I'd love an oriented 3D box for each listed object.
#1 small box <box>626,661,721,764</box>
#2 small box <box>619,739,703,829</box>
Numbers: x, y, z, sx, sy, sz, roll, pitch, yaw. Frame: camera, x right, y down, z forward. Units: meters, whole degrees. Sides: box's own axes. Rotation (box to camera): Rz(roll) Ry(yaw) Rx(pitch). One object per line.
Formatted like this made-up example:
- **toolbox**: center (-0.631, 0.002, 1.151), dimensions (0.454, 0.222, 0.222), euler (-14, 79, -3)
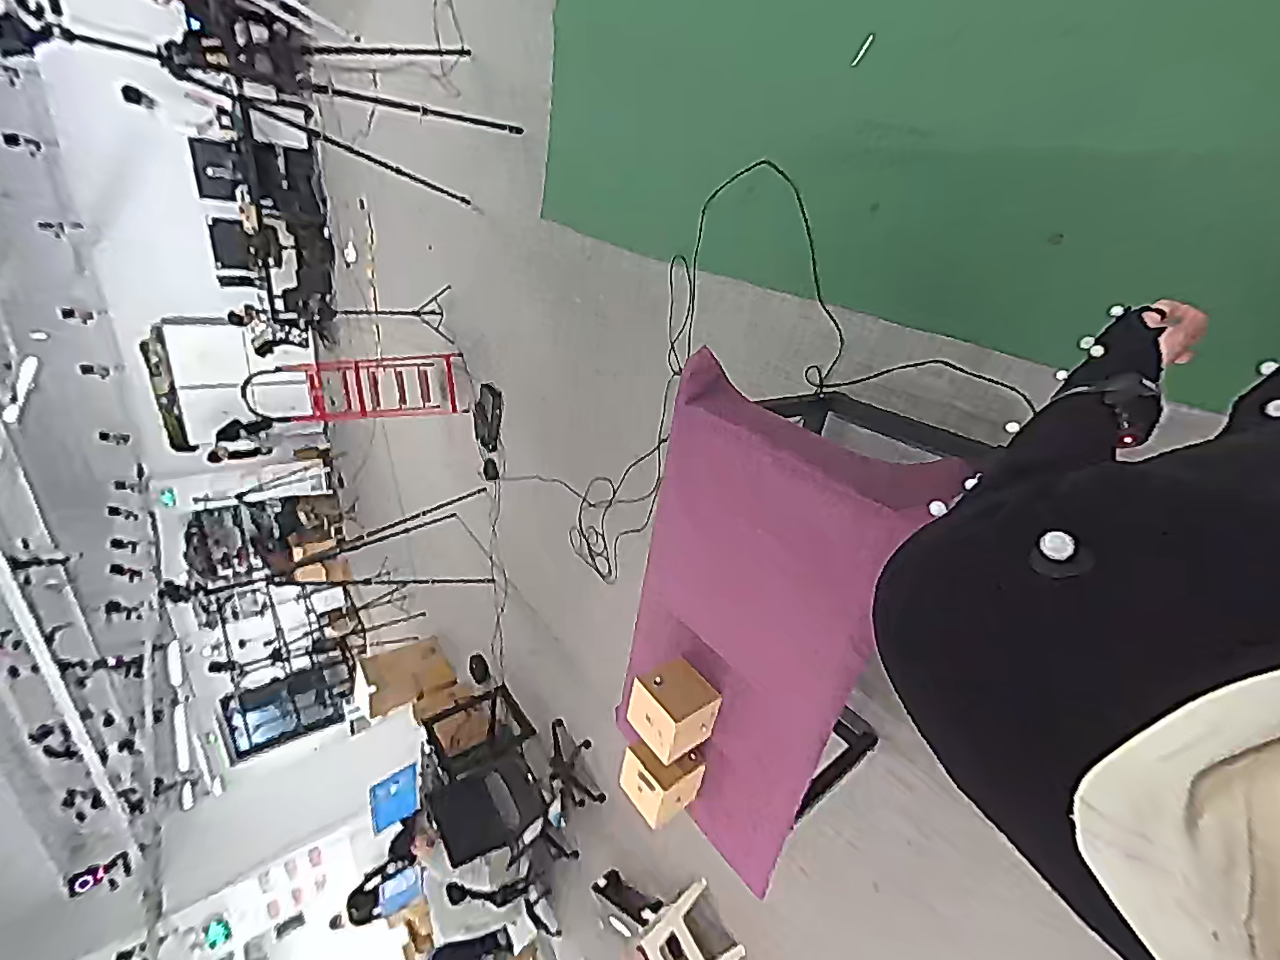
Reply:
- **small box**: center (0.090, 0.621, 1.479), dimensions (0.179, 0.176, 0.168), euler (36, 127, 40)
- **small box**: center (0.064, 0.855, 1.578), dimensions (0.168, 0.176, 0.179), euler (36, 127, 41)
